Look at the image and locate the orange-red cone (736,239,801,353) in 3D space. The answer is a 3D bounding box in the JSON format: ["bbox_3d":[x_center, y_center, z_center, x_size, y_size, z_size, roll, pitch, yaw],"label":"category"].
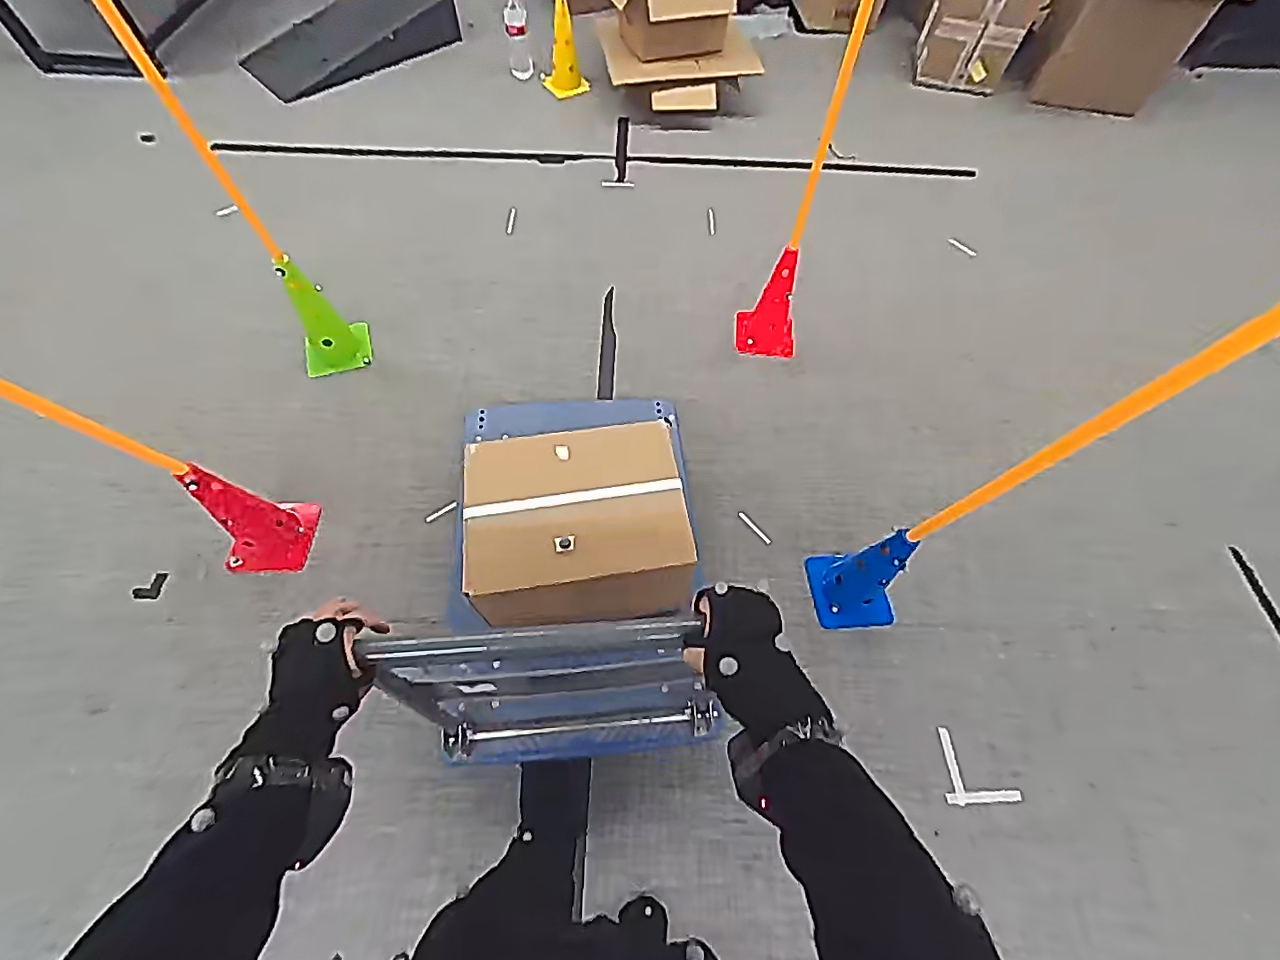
[{"bbox_3d":[0.444,-0.604,1.725,0.199,0.360,0.198,8,61,1],"label":"orange-red cone"}]

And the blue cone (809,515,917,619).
[{"bbox_3d":[0.565,0.193,1.301,0.193,0.380,0.192,-2,60,-4],"label":"blue cone"}]
